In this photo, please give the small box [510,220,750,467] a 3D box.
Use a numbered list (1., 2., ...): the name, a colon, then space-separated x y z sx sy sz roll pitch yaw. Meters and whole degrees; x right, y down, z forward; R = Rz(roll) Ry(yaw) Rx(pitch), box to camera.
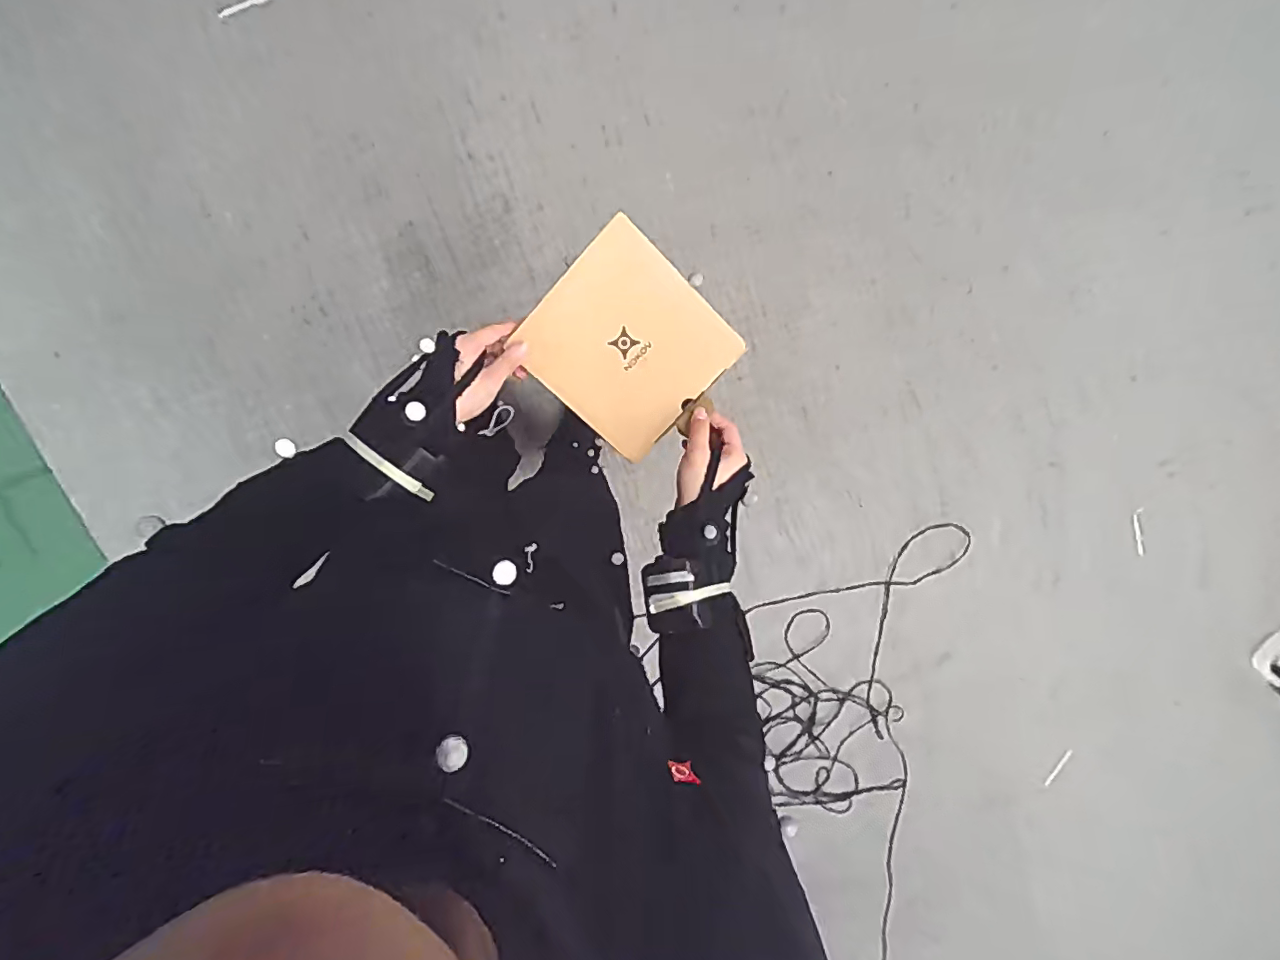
1. small box: -0.015 -0.145 0.595 0.179 0.176 0.168 41 100 -16
